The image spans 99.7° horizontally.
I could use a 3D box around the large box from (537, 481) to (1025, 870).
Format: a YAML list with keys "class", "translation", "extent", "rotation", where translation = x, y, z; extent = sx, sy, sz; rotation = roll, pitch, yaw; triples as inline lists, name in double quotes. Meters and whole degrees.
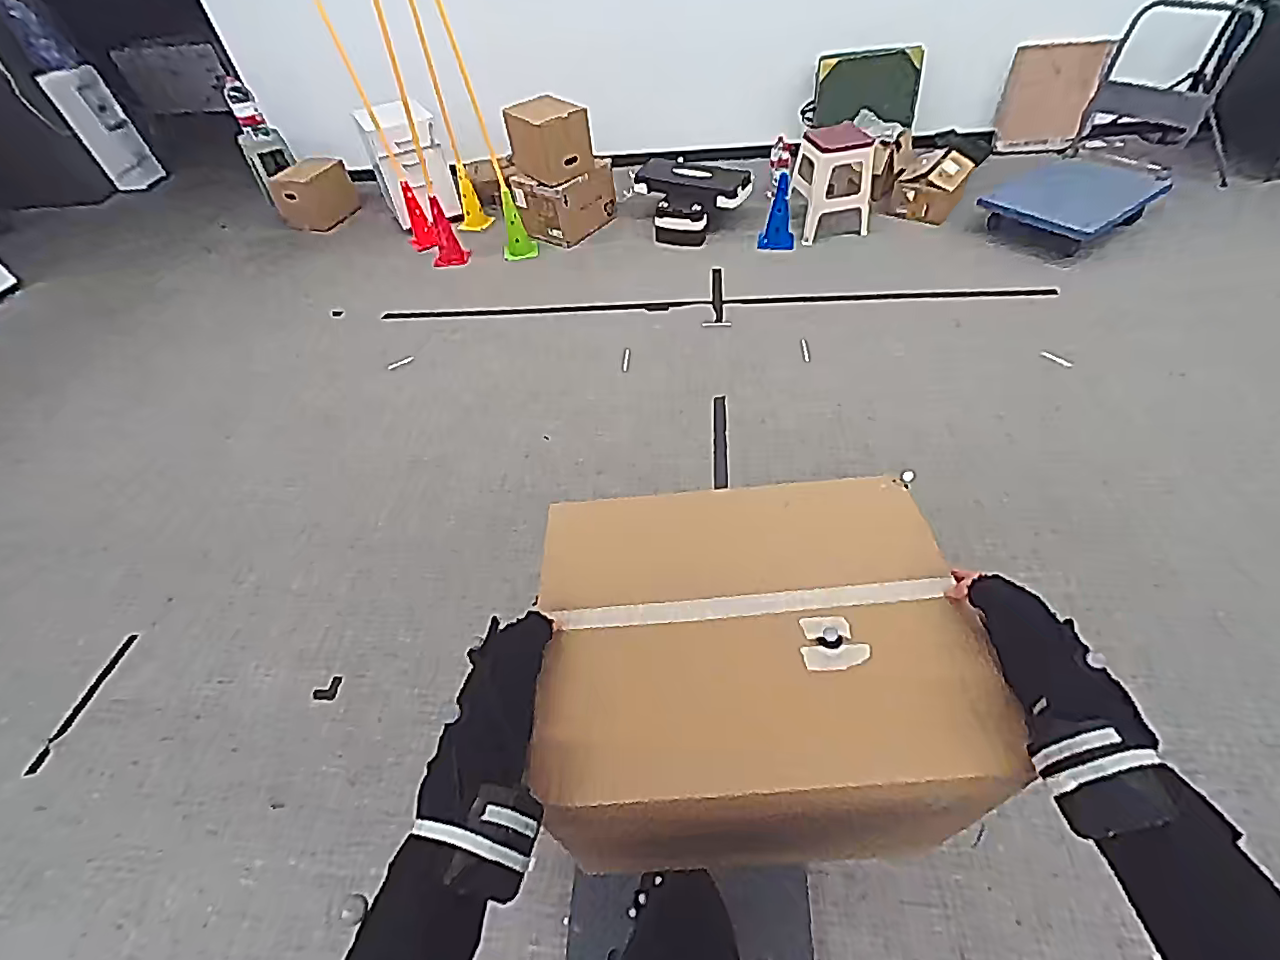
- class: "large box"
  translation: [0.115, 0.233, 0.641]
  extent: [0.408, 0.320, 0.320]
  rotation: [-5, 46, 2]
